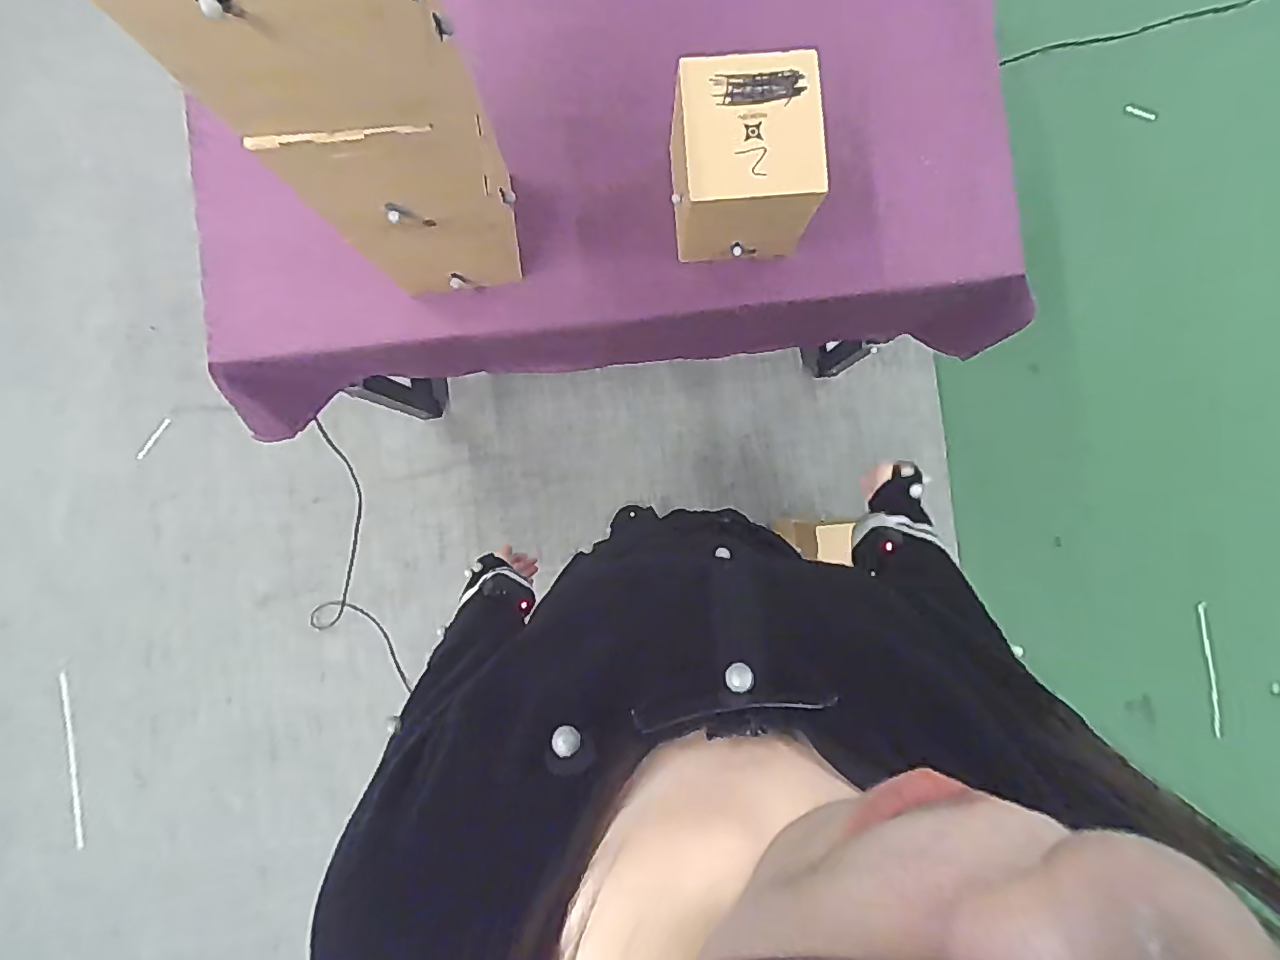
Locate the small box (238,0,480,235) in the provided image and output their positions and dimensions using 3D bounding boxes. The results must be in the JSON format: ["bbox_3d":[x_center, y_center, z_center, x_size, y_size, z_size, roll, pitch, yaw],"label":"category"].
[{"bbox_3d":[-0.272,-0.379,0.549,0.168,0.176,0.179,-6,89,0],"label":"small box"}]

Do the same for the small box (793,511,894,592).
[{"bbox_3d":[0.470,0.164,1.275,0.179,0.176,0.168,-5,90,-2],"label":"small box"}]

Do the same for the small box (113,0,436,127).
[{"bbox_3d":[-0.266,-0.385,0.385,0.179,0.176,0.168,-5,88,-1],"label":"small box"}]

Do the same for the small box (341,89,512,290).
[{"bbox_3d":[-0.273,-0.369,0.714,0.179,0.176,0.168,-8,88,-1],"label":"small box"}]

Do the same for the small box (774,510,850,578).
[{"bbox_3d":[0.459,0.167,1.438,0.179,0.176,0.168,-2,89,-1],"label":"small box"}]
